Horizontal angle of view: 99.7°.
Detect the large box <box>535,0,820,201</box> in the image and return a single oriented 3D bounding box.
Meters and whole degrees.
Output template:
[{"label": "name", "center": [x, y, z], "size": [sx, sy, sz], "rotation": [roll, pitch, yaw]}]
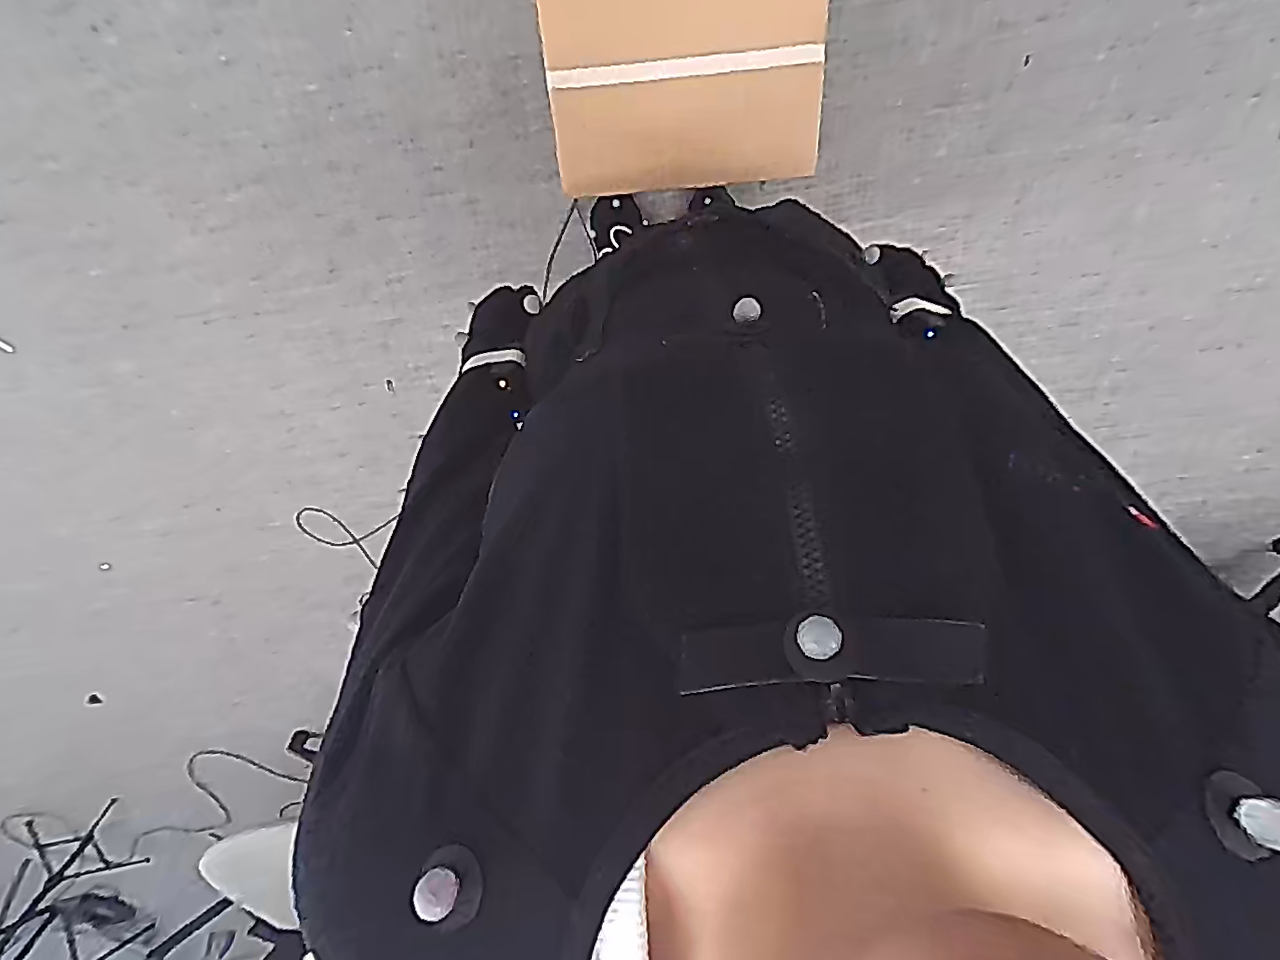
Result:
[{"label": "large box", "center": [0.058, -0.676, 0.918], "size": [0.408, 0.320, 0.320], "rotation": [-4, 120, 1]}]
